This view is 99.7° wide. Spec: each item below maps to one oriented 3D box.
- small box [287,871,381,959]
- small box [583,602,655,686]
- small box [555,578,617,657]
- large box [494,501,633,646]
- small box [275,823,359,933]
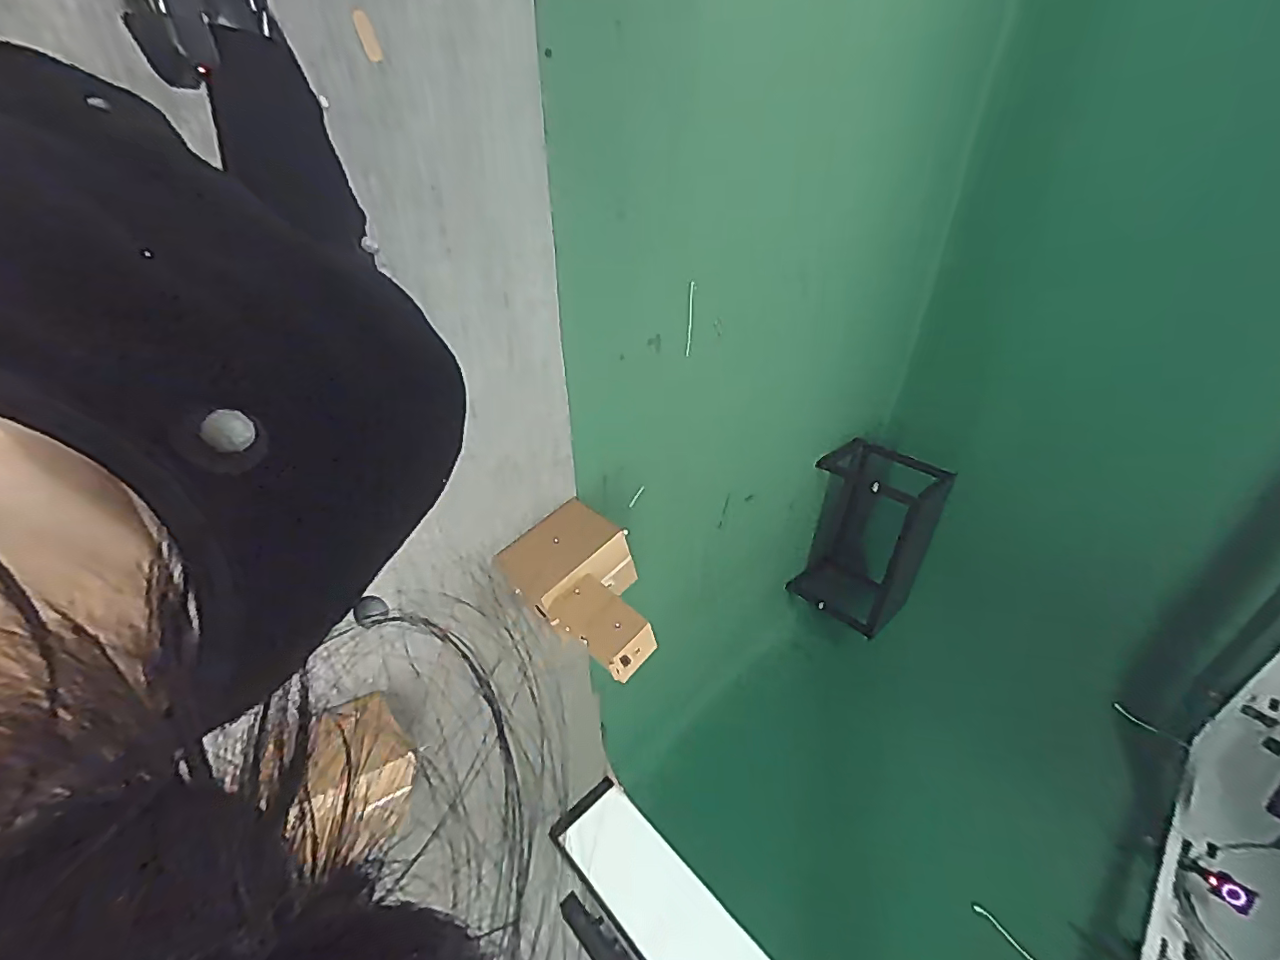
[{"bbox_3d":[-0.819,1.205,1.439,0.179,0.176,0.168,-6,119,-47],"label":"small box"},{"bbox_3d":[-0.076,0.555,1.848,0.179,0.176,0.168,-40,138,-26],"label":"small box"},{"bbox_3d":[-0.189,0.491,1.949,0.179,0.176,0.168,-35,136,-28],"label":"small box"},{"bbox_3d":[-0.295,0.360,2.147,0.408,0.320,0.320,-40,139,-26],"label":"large box"},{"bbox_3d":[-0.923,1.137,1.543,0.168,0.176,0.179,-7,120,-46],"label":"small box"}]
